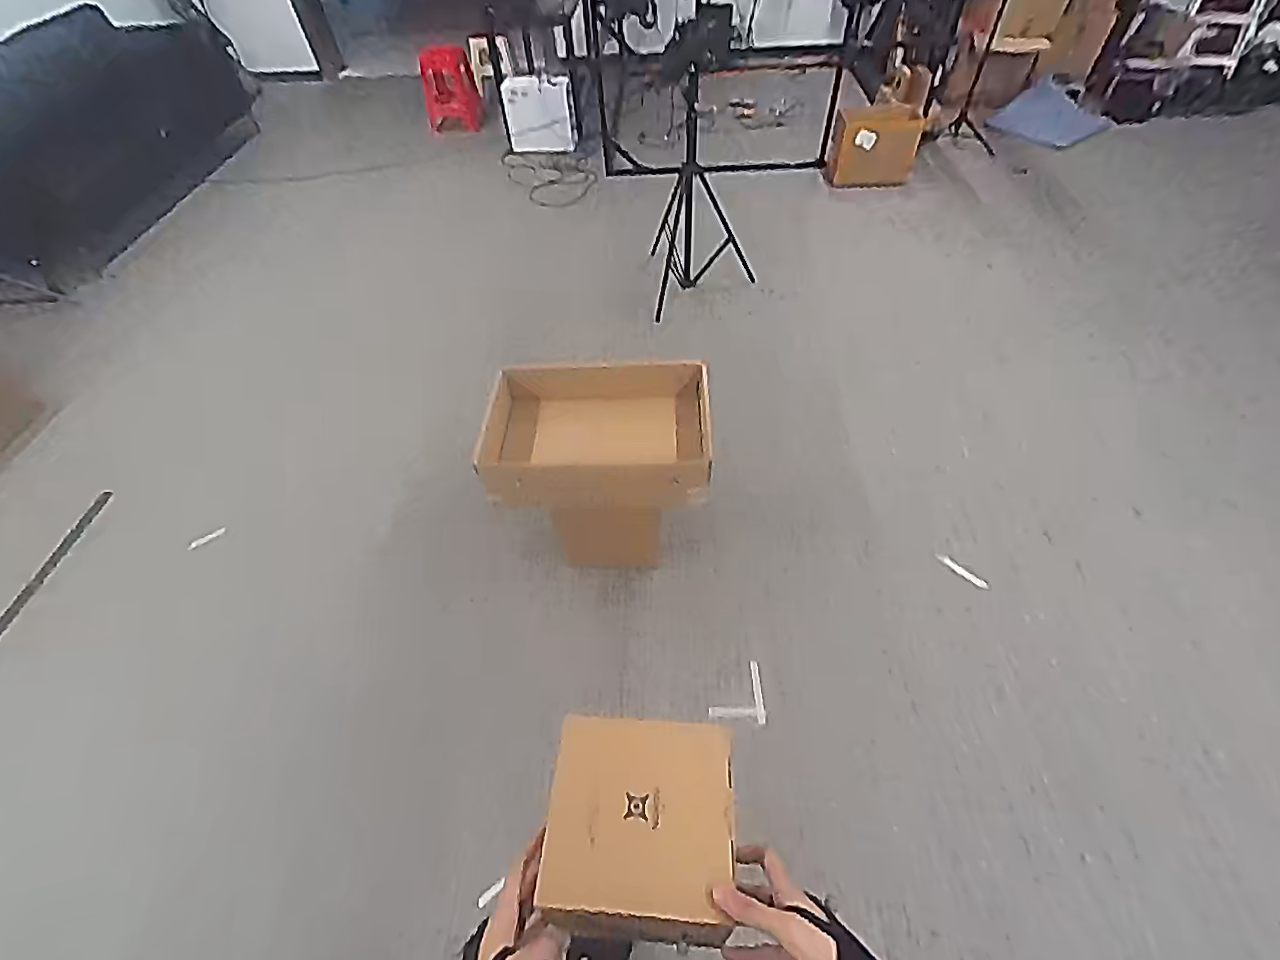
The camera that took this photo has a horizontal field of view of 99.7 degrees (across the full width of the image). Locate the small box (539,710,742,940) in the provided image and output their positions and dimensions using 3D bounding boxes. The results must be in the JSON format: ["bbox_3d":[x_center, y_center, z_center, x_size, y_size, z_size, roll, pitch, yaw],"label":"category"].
[{"bbox_3d":[0.006,0.364,0.570,0.179,0.176,0.168,1,43,3],"label":"small box"}]
